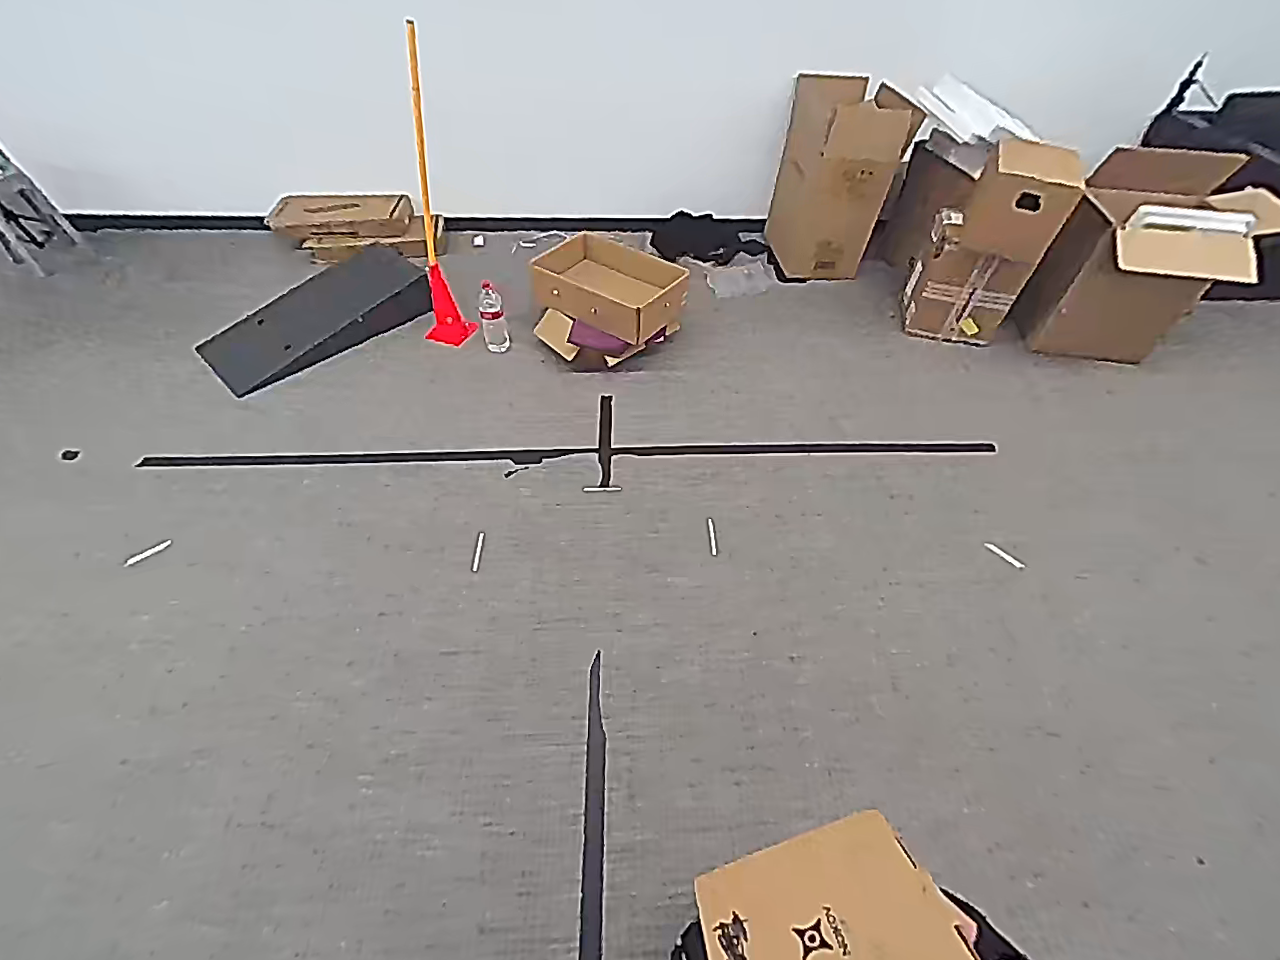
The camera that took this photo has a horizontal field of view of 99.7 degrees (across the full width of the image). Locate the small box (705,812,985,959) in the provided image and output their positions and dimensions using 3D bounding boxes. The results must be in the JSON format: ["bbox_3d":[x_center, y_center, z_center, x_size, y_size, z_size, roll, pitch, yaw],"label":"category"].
[{"bbox_3d":[0.169,0.412,0.416,0.179,0.176,0.168,-20,9,-1],"label":"small box"}]
